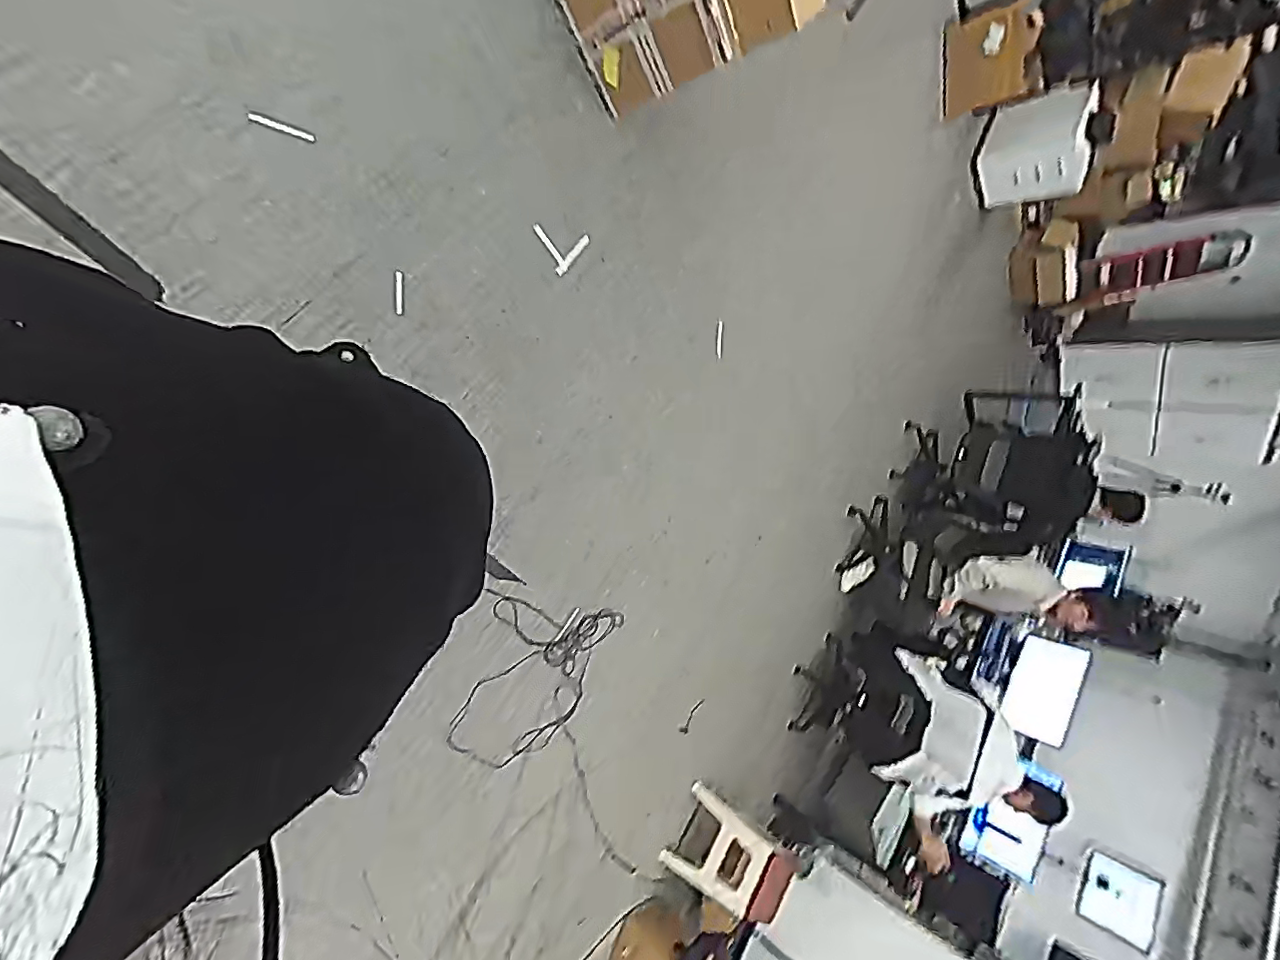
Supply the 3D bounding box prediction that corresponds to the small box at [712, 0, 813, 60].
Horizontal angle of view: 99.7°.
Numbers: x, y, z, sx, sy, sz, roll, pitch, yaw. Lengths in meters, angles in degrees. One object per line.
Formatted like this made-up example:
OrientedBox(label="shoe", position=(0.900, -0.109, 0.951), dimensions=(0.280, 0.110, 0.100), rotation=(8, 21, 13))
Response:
OrientedBox(label="small box", position=(0.309, -1.217, 1.381), dimensions=(0.168, 0.176, 0.179), rotation=(-52, 131, -21))
